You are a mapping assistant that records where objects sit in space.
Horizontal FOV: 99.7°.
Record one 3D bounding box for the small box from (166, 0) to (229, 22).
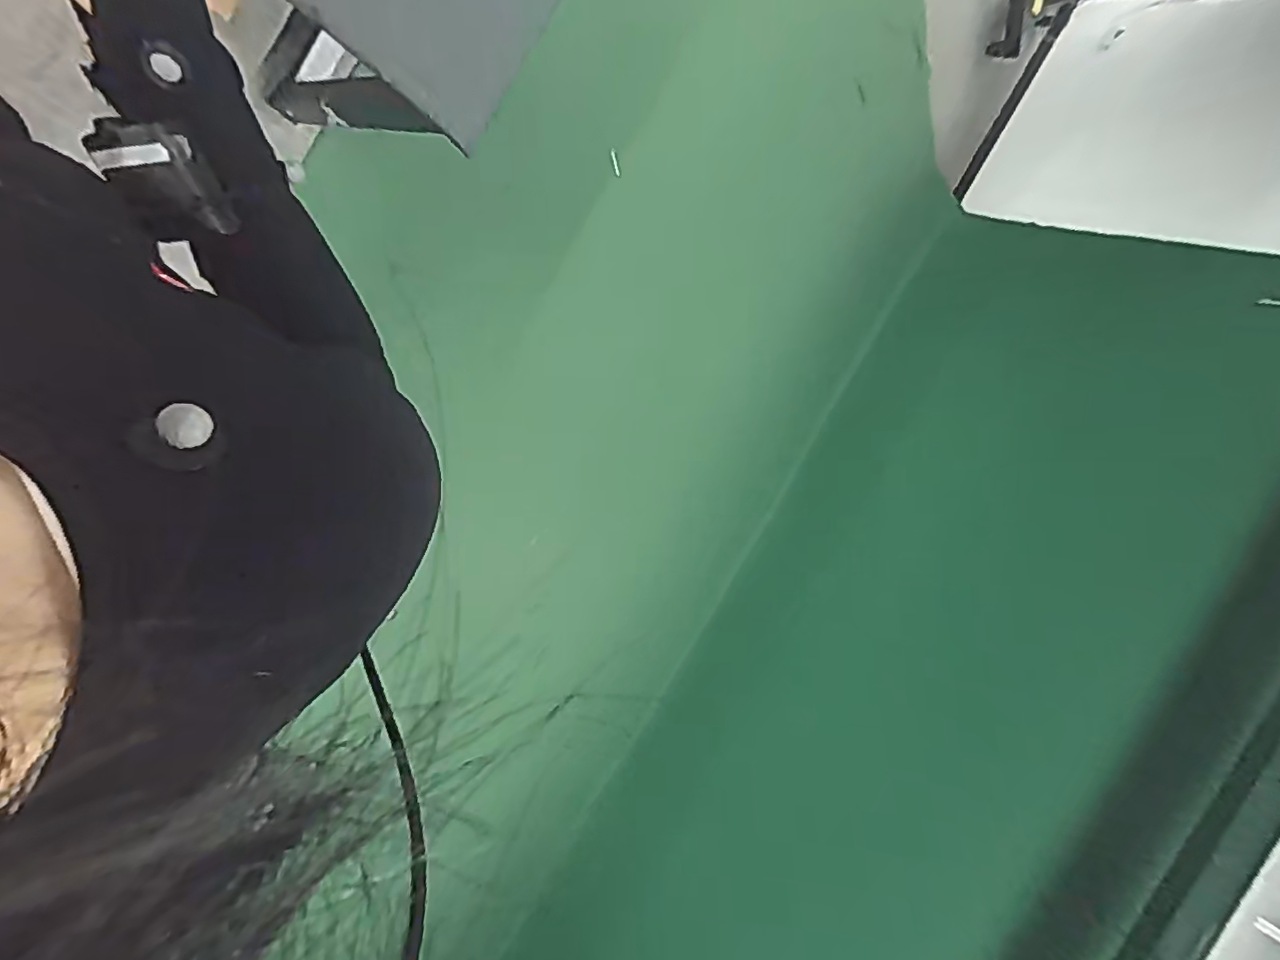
[{"bbox_3d":[-0.750,-0.883,0.865,0.168,0.176,0.179,21,98,-55],"label":"small box"}]
